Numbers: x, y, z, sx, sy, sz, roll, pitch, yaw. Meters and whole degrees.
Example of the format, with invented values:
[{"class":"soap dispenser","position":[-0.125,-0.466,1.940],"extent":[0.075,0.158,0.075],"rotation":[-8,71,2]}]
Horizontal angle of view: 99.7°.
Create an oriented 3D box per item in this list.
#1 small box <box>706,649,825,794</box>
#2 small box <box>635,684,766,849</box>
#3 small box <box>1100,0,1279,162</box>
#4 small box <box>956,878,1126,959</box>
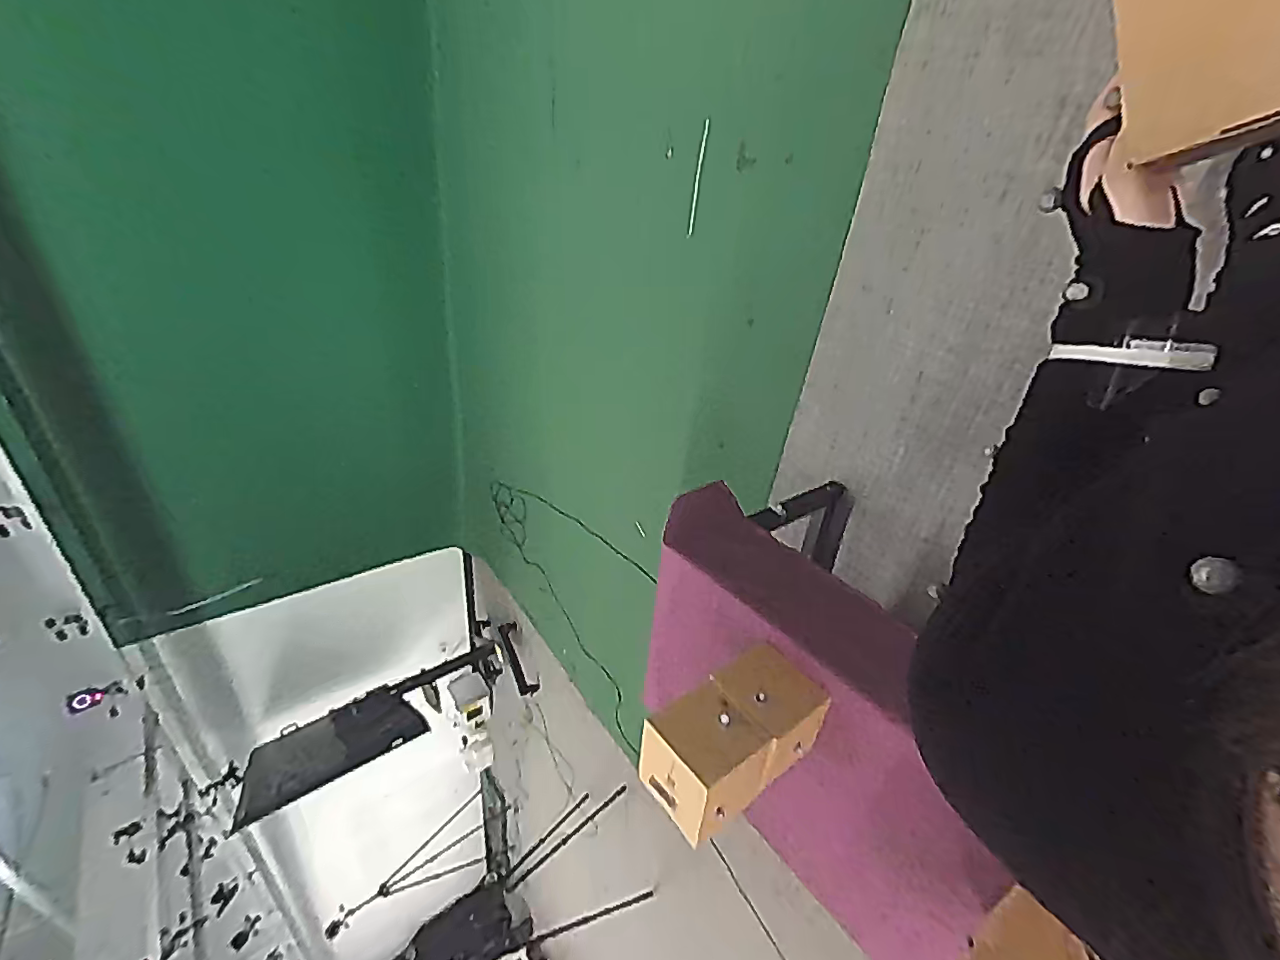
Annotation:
[{"class":"small box","position":[0.241,0.476,1.092],"extent":[0.179,0.176,0.168],"rotation":[37,131,41]},{"class":"small box","position":[0.110,0.520,1.002],"extent":[0.168,0.176,0.179],"rotation":[34,129,42]},{"class":"small box","position":[0.326,-0.268,0.241],"extent":[0.168,0.176,0.179],"rotation":[-1,108,50]},{"class":"small box","position":[0.555,0.715,0.751],"extent":[0.168,0.176,0.179],"rotation":[37,130,41]}]
